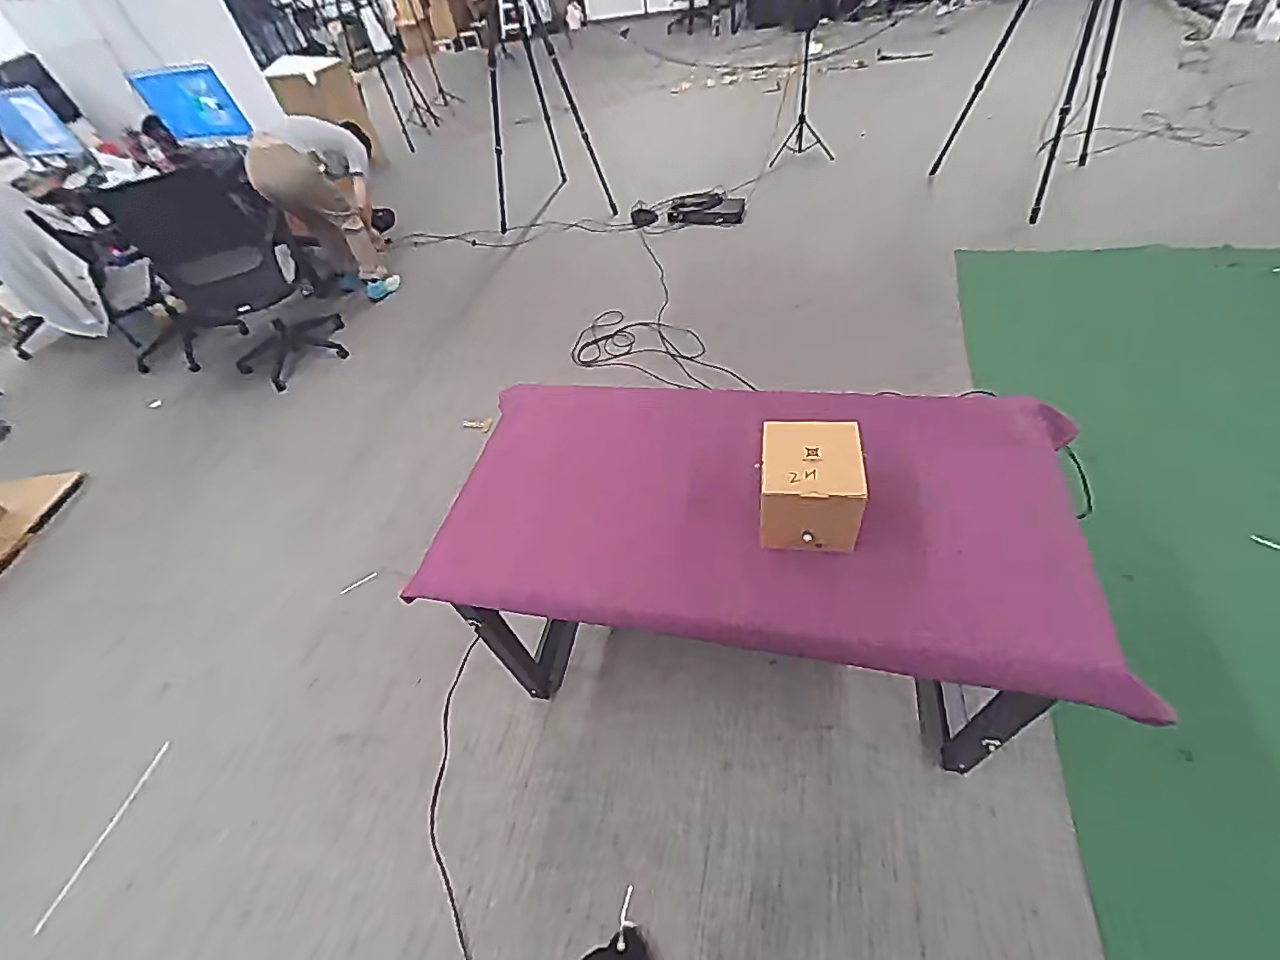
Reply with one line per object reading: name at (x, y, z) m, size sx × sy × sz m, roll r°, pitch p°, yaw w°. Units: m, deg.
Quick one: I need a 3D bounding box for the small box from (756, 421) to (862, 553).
small box at (0.302, 0.011, 0.993) m, size 0.168 × 0.176 × 0.179 m, roll 2°, pitch 50°, yaw 12°
